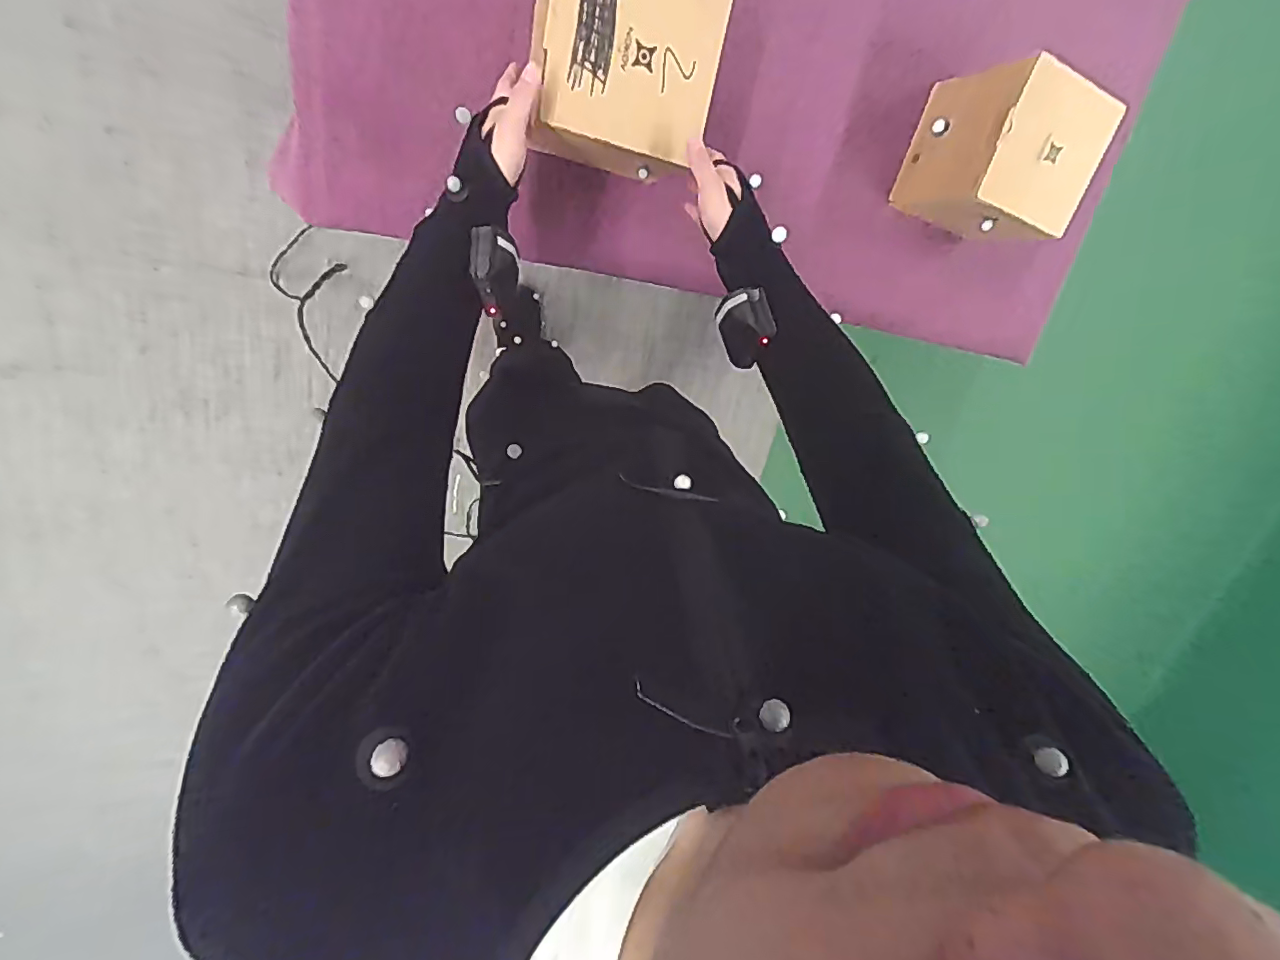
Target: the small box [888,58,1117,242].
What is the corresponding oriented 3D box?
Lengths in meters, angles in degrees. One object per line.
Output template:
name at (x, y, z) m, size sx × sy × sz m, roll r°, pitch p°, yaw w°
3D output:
small box at (0.504, -0.456, 0.775) m, size 0.179 × 0.176 × 0.168 m, roll 10°, pitch 111°, yaw -22°
